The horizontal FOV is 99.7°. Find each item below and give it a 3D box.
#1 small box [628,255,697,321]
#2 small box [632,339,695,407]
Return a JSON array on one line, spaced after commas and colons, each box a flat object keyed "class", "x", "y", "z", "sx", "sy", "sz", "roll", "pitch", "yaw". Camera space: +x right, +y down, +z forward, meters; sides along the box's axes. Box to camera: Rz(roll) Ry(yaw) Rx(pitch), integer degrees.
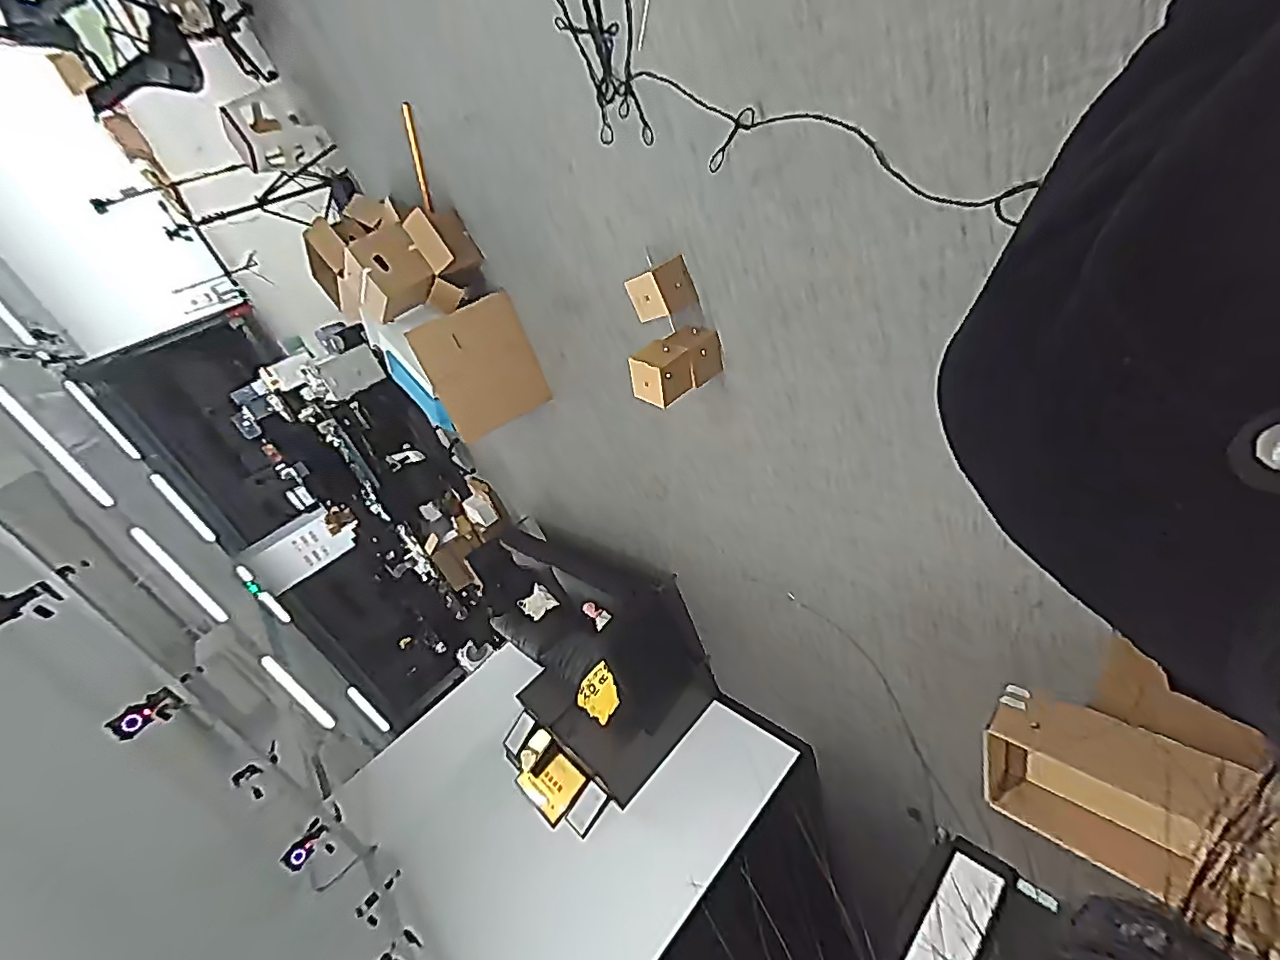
[{"class": "small box", "x": 0.094, "y": -0.727, "z": 2.044, "sx": 0.179, "sy": 0.176, "sz": 0.168, "roll": 6, "pitch": 129, "yaw": 54}, {"class": "small box", "x": 0.096, "y": -0.415, "z": 2.073, "sx": 0.168, "sy": 0.176, "sz": 0.179, "roll": 29, "pitch": 144, "yaw": 36}]
